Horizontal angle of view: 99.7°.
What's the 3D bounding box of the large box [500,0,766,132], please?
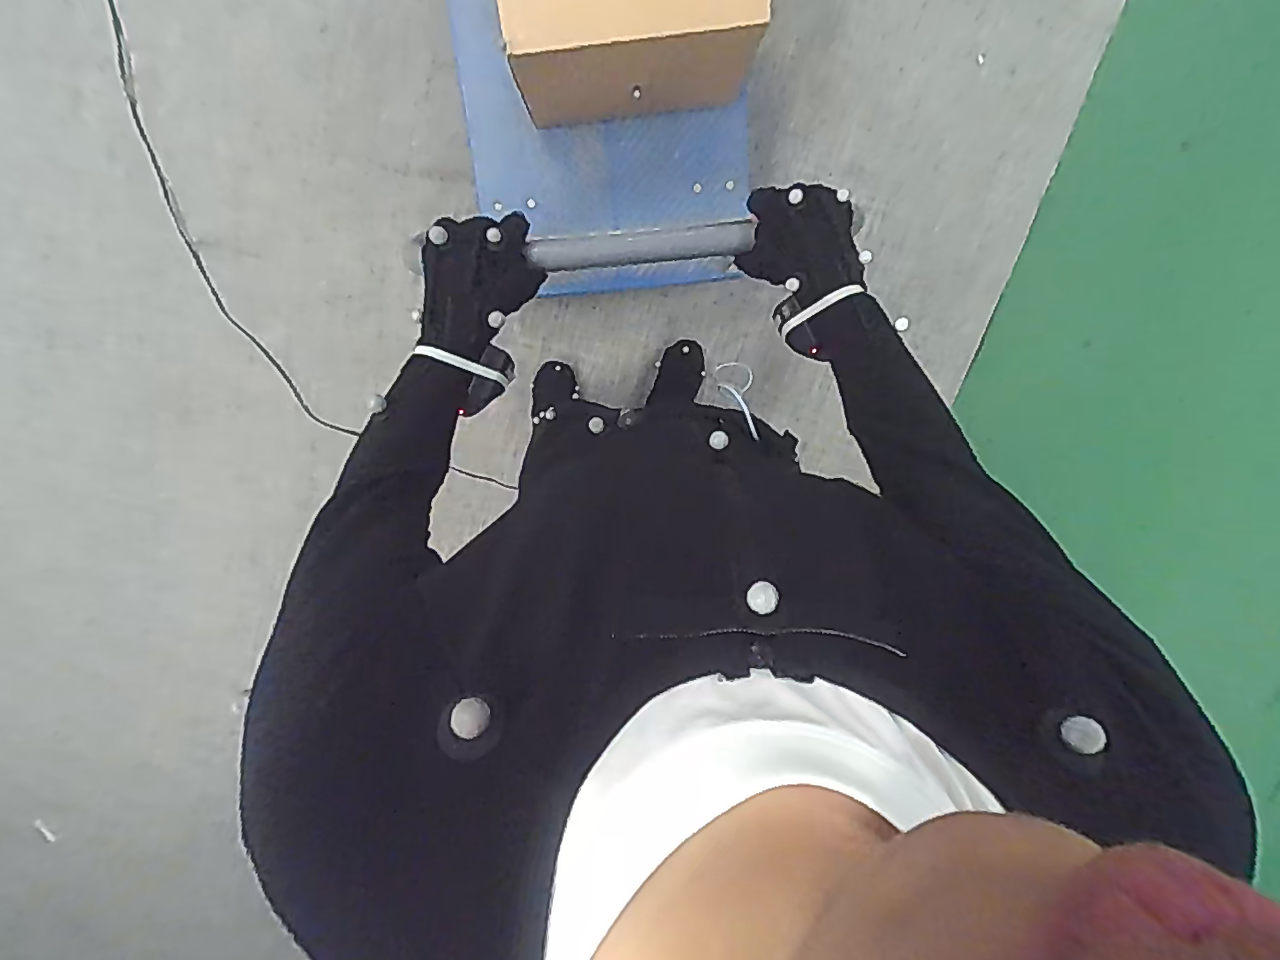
[{"bbox_3d":[-0.023,-0.849,0.935,0.408,0.320,0.320,-7,105,1],"label":"large box"}]
